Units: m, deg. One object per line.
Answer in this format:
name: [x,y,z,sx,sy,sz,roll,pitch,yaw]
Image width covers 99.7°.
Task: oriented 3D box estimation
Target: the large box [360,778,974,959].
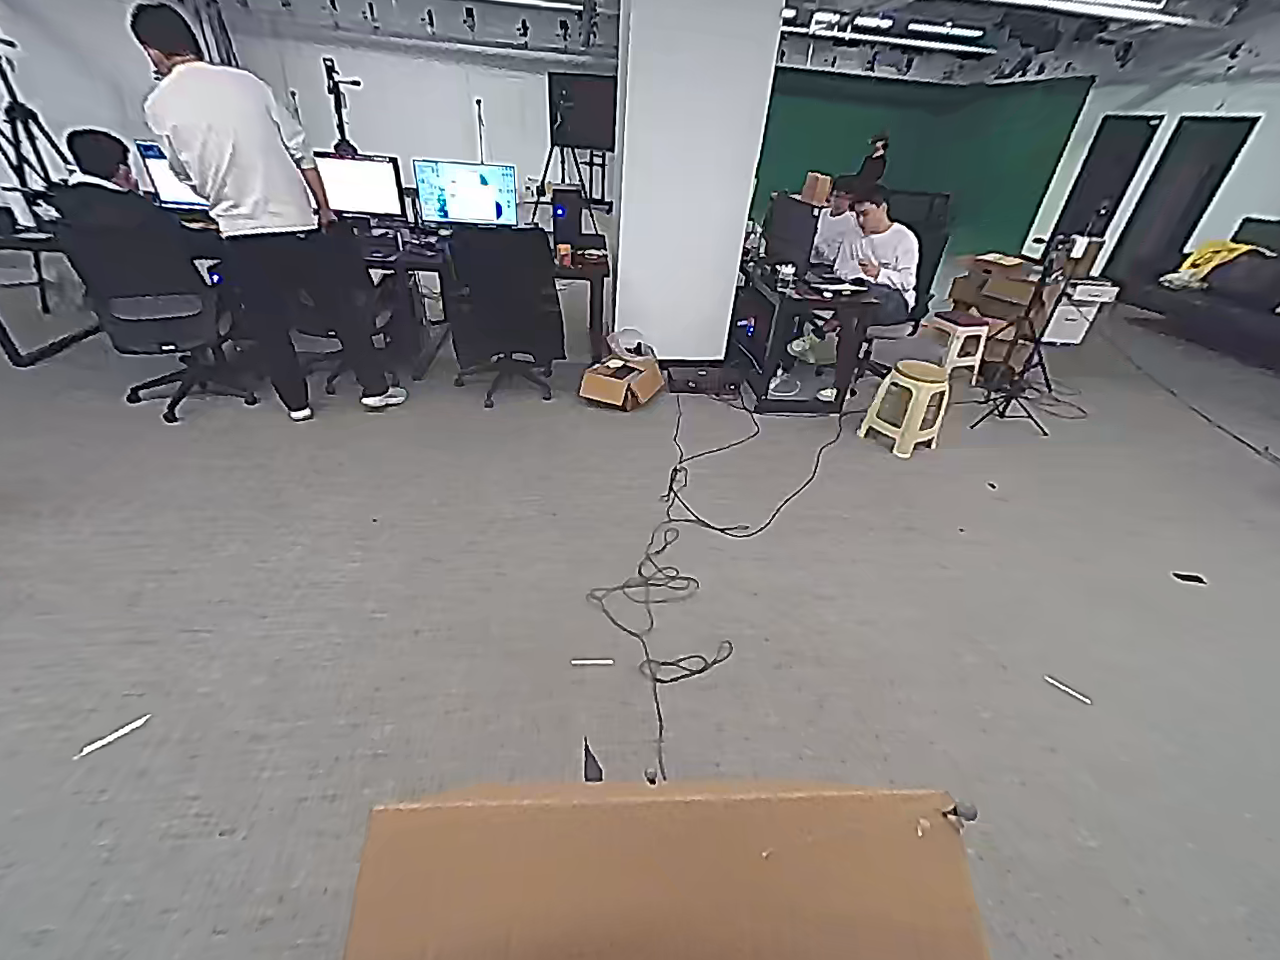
large box: [0.014,0.436,0.452,0.408,0.320,0.320,0,64,-4]
